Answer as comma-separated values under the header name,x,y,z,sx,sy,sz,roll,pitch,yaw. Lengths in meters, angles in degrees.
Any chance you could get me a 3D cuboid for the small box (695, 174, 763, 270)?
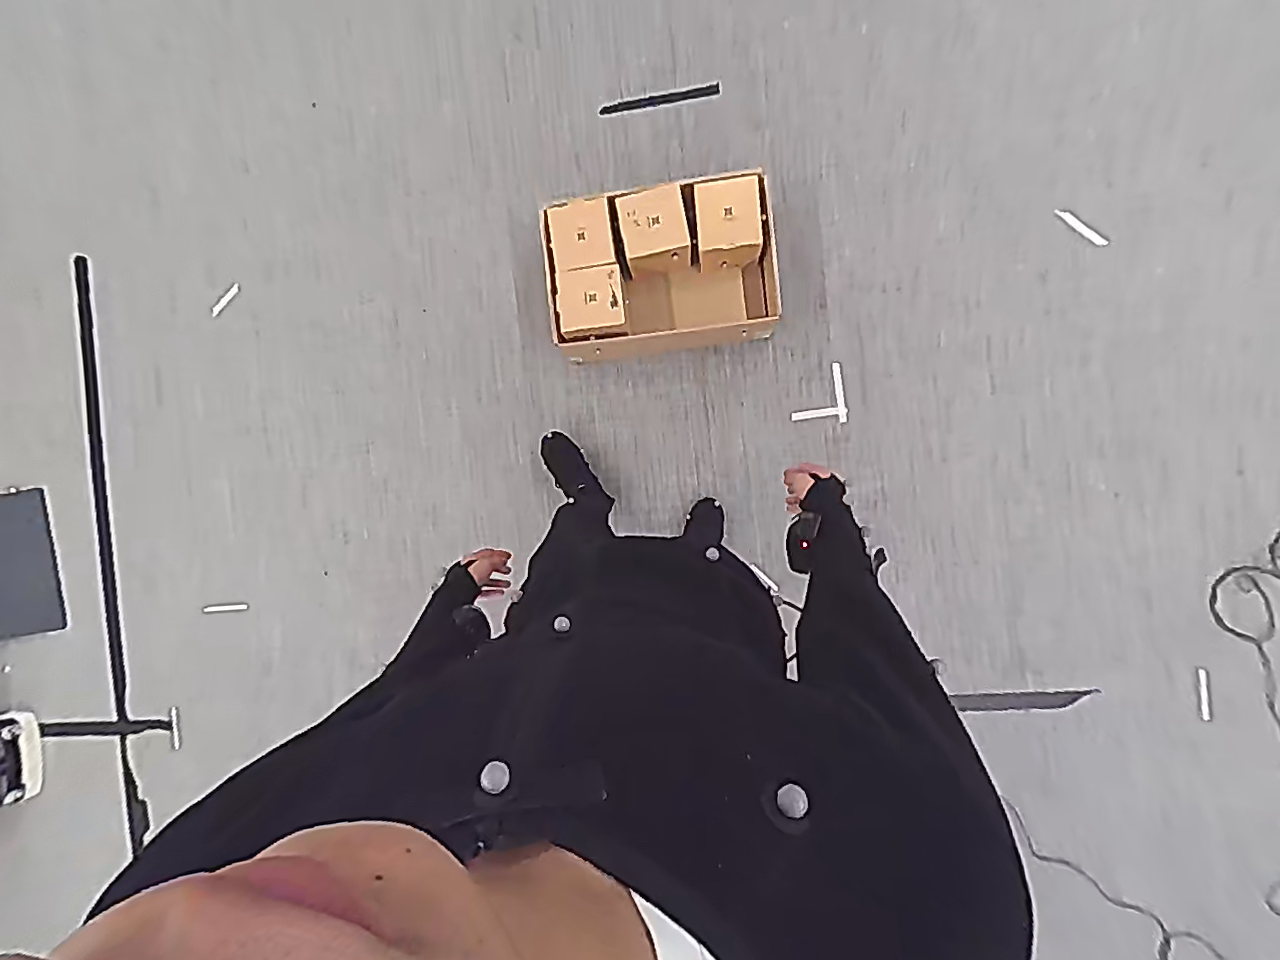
name,x,y,z,sx,sy,sz,roll,pitch,yaw
small box,0.238,-0.695,1.474,0.168,0.176,0.179,-5,93,7
